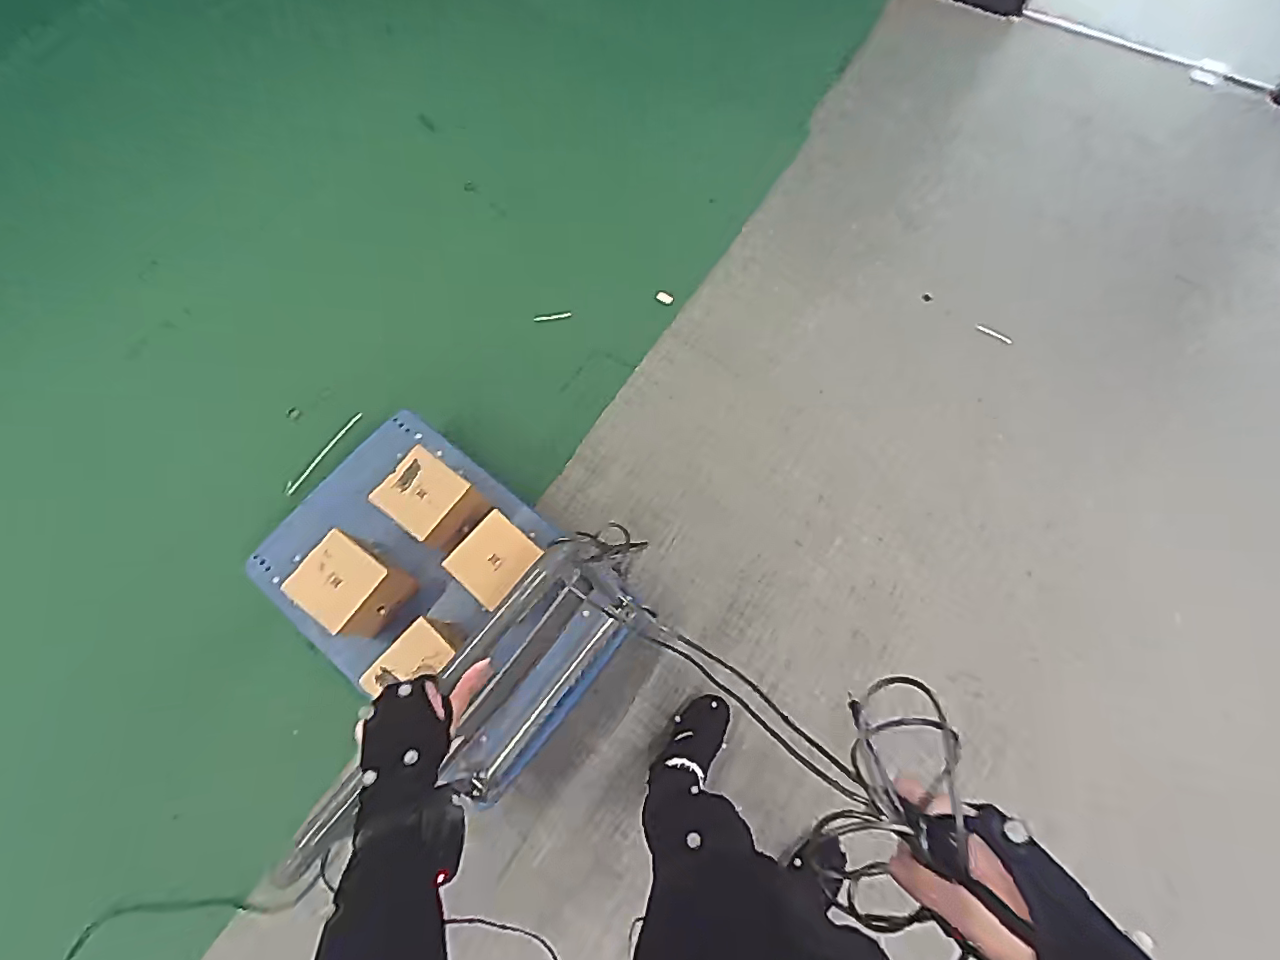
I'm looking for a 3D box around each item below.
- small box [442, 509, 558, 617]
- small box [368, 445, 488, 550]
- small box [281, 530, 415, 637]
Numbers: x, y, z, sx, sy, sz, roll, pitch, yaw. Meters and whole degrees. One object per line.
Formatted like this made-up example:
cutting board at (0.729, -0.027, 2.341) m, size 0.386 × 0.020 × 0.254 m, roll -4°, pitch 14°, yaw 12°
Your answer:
small box at (-0.314, 0.200, 1.247) m, size 0.179 × 0.176 × 0.168 m, roll 39°, pitch 77°, yaw 13°
small box at (-0.502, 0.051, 1.304) m, size 0.179 × 0.176 × 0.168 m, roll 35°, pitch 77°, yaw 12°
small box at (-0.661, 0.243, 1.247) m, size 0.179 × 0.176 × 0.168 m, roll 34°, pitch 75°, yaw 12°
